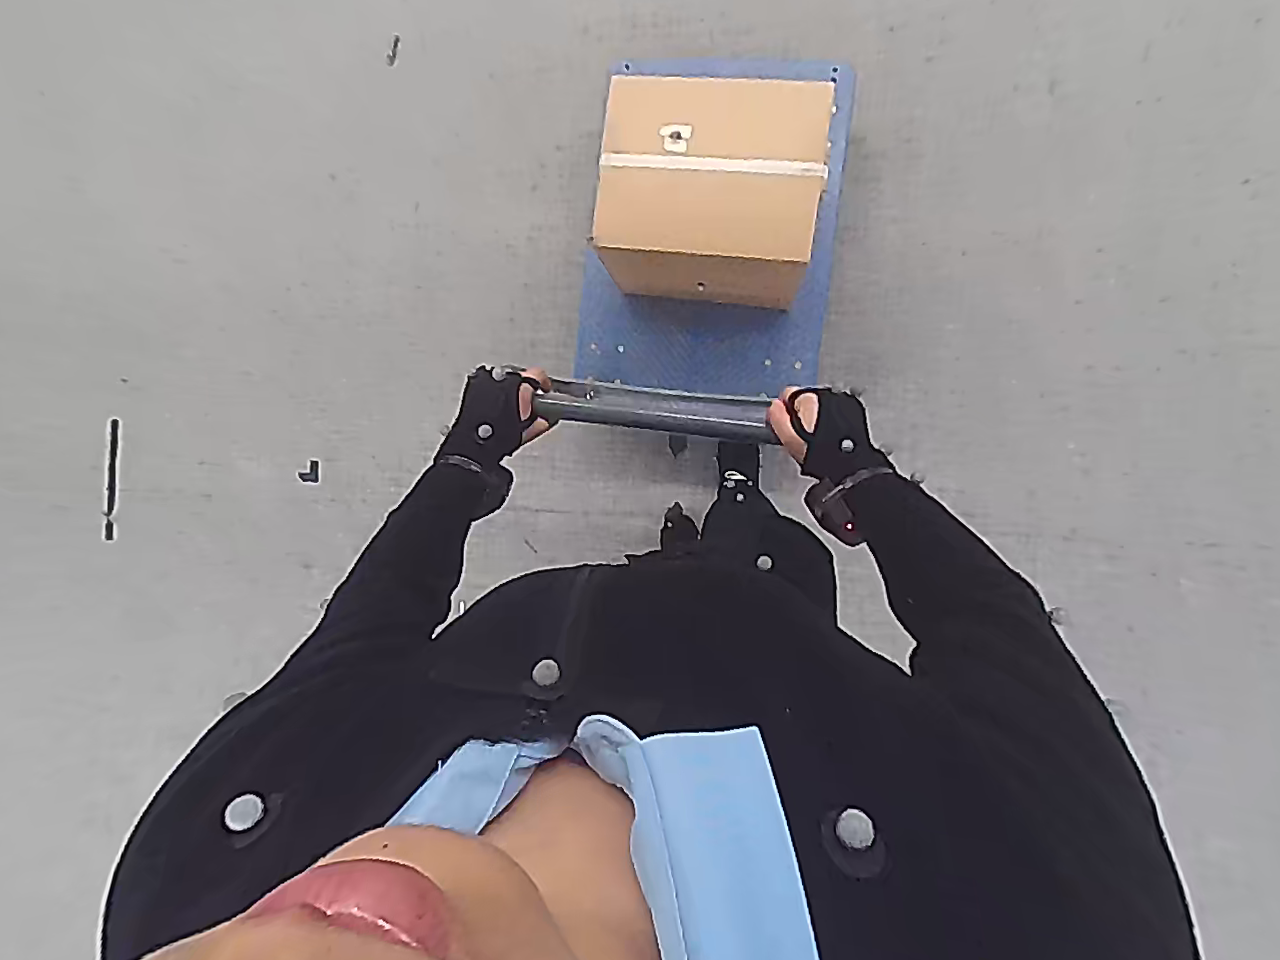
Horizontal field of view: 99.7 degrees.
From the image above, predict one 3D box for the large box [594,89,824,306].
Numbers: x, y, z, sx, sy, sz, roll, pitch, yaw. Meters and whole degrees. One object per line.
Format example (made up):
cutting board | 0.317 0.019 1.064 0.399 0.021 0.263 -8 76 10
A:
large box | 0.147 -0.572 1.149 0.408 0.320 0.320 8 92 9
